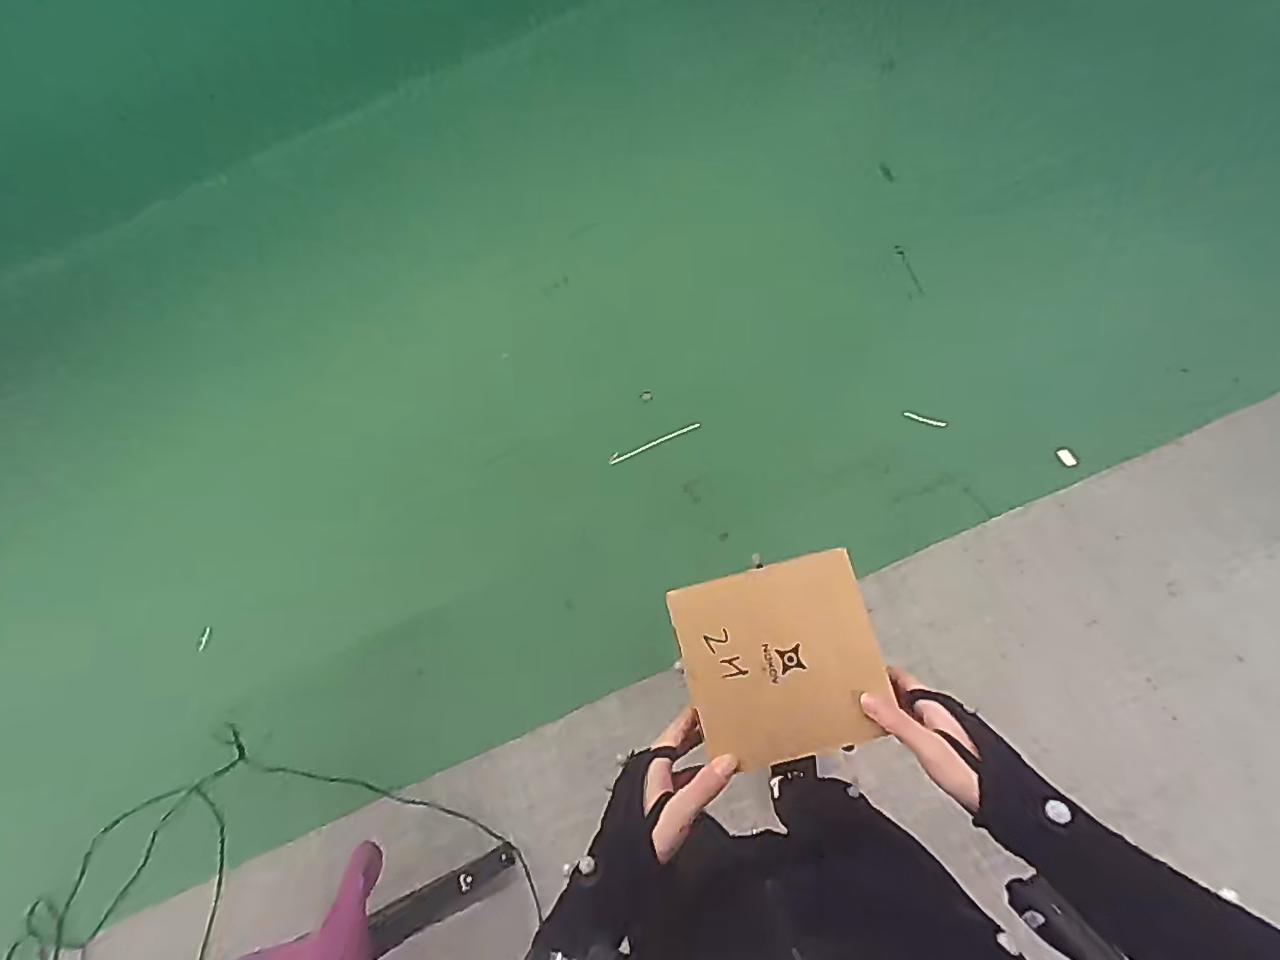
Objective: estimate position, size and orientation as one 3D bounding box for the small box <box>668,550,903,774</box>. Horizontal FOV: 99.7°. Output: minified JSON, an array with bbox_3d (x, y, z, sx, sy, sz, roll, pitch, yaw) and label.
[{"bbox_3d":[0.134,0.176,0.565,0.179,0.176,0.168,-16,77,3],"label":"small box"}]
